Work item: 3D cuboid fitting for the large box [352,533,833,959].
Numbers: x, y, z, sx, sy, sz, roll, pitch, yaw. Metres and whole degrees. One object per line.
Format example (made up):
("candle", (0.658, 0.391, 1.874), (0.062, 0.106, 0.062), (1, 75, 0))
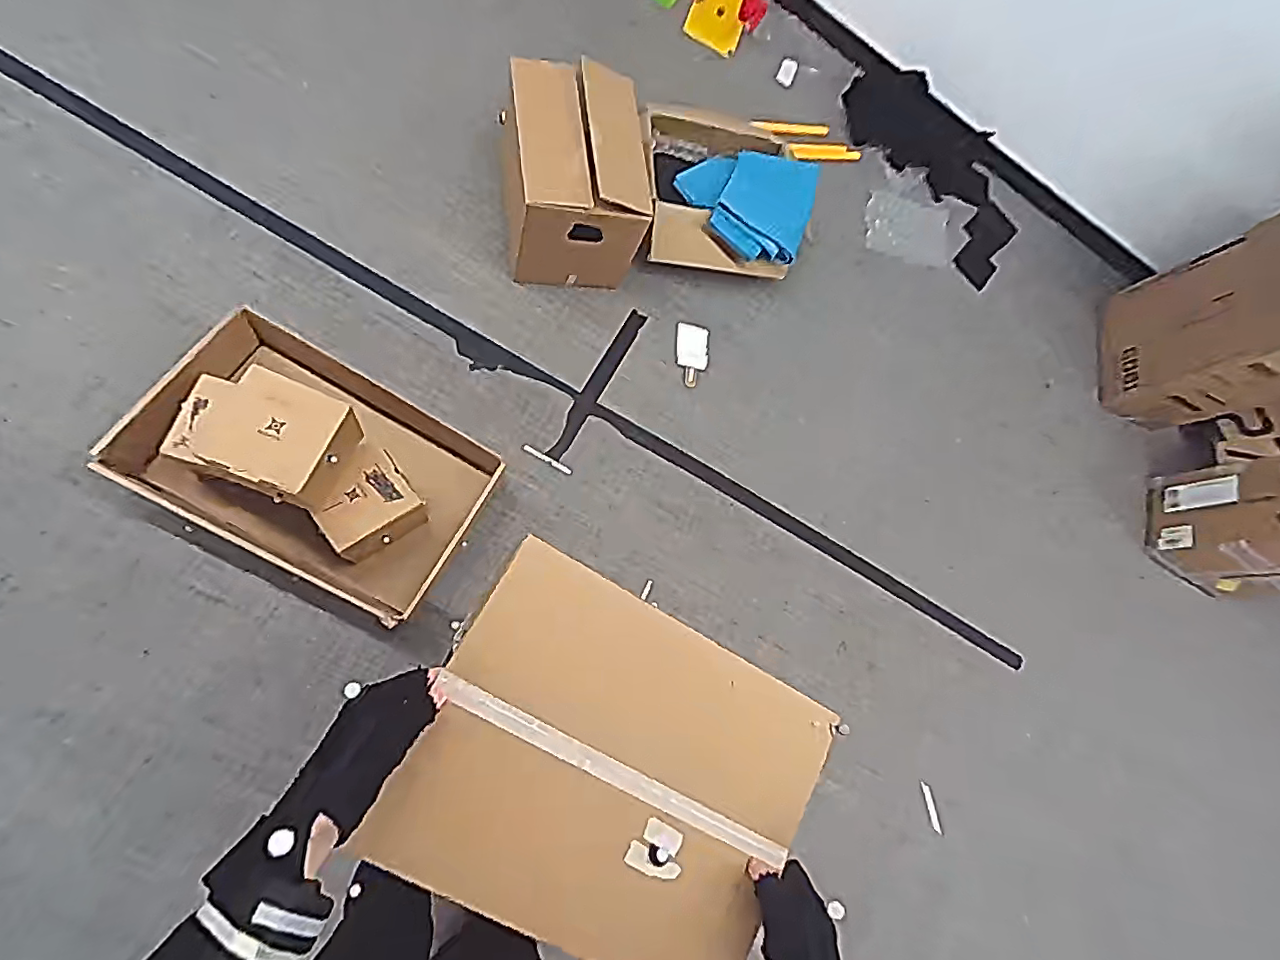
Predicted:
("large box", (-0.058, 0.299, 0.678), (0.408, 0.320, 0.320), (32, 75, -10))

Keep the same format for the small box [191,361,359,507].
("small box", (-0.618, -0.068, 0.948), (0.168, 0.176, 0.179), (24, 69, -13))
